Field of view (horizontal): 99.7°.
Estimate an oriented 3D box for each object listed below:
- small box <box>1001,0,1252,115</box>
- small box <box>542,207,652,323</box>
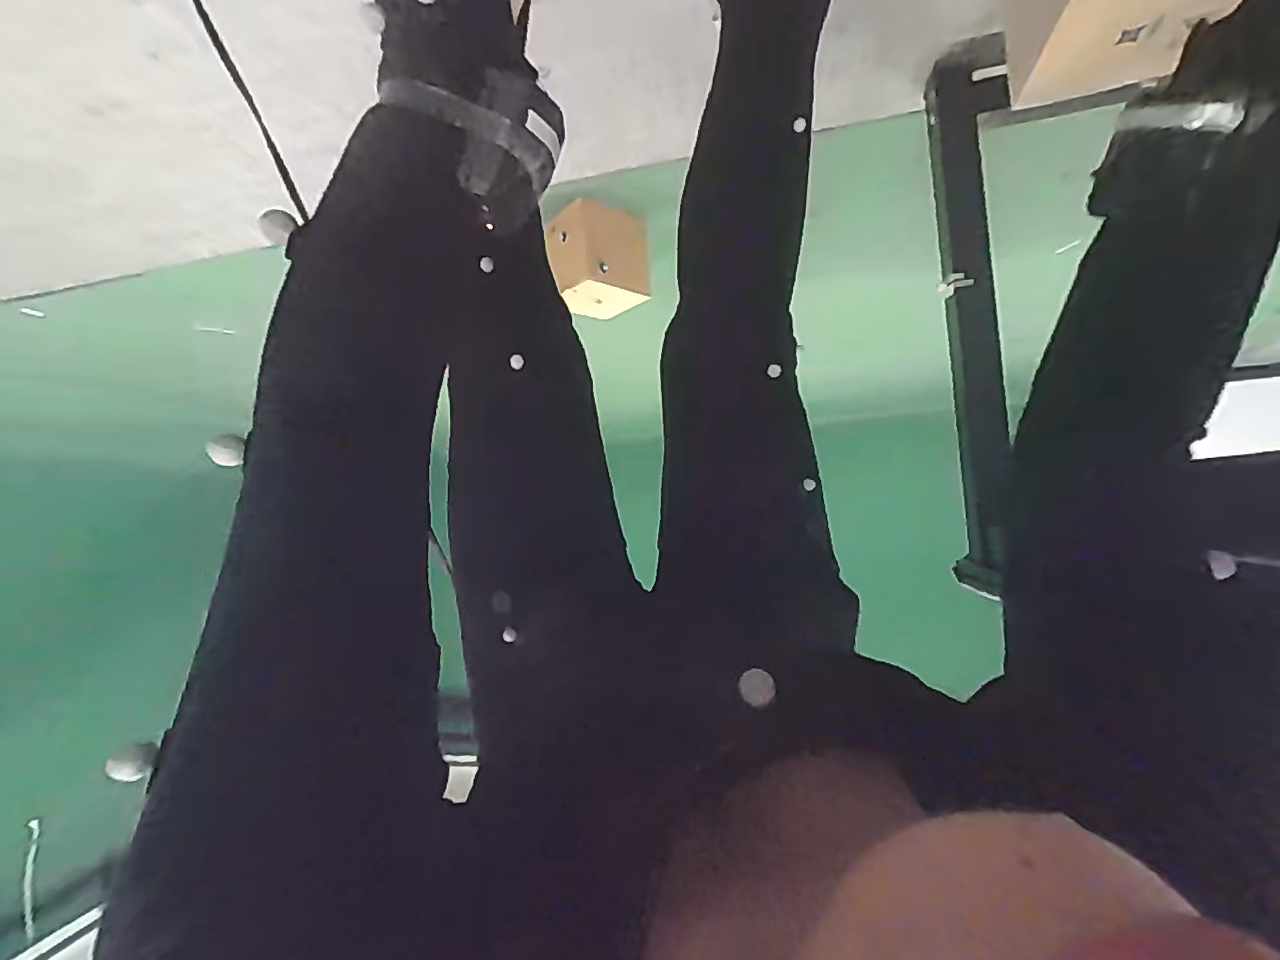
[{"bbox_3d":[0.492,-0.526,0.548,0.179,0.176,0.168,-5,177,18],"label":"small box"},{"bbox_3d":[-0.093,-0.455,1.160,0.179,0.176,0.168,0,175,-41],"label":"small box"}]
